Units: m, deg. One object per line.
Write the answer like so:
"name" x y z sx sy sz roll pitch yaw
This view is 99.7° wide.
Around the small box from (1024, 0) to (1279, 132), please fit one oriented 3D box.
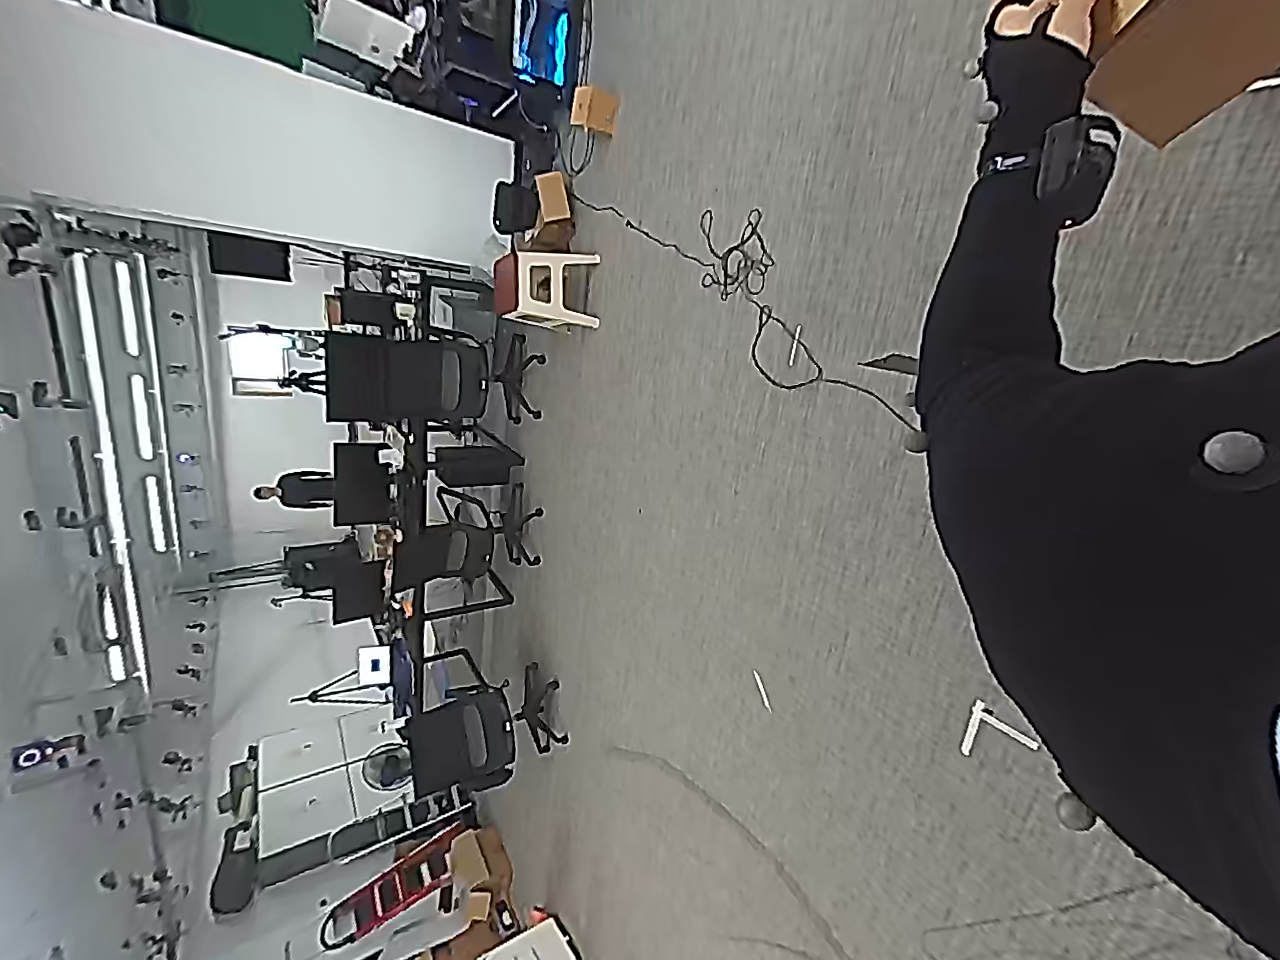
"small box" 0.438 -0.425 0.422 0.179 0.176 0.168 -38 54 57
